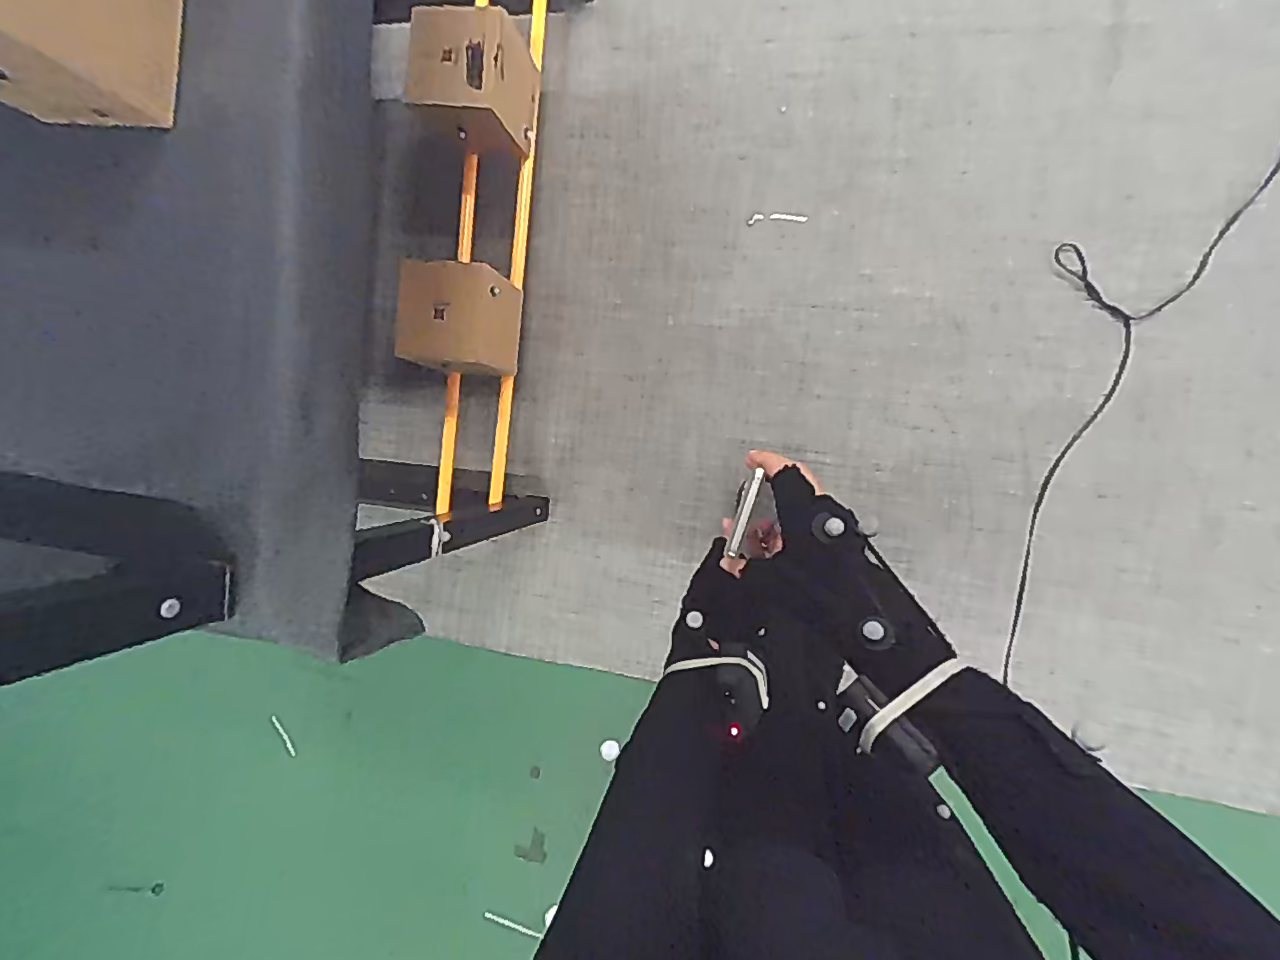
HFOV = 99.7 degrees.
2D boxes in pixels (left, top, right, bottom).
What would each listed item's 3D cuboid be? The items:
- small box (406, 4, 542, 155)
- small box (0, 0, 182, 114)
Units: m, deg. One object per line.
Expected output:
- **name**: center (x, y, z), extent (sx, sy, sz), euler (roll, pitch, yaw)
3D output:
- **small box**: center (-0.299, -0.732, 1.006), extent (0.179, 0.176, 0.168), euler (10, 95, 12)
- **small box**: center (-0.509, -0.426, 0.428), extent (0.168, 0.176, 0.179), euler (10, 95, 11)
